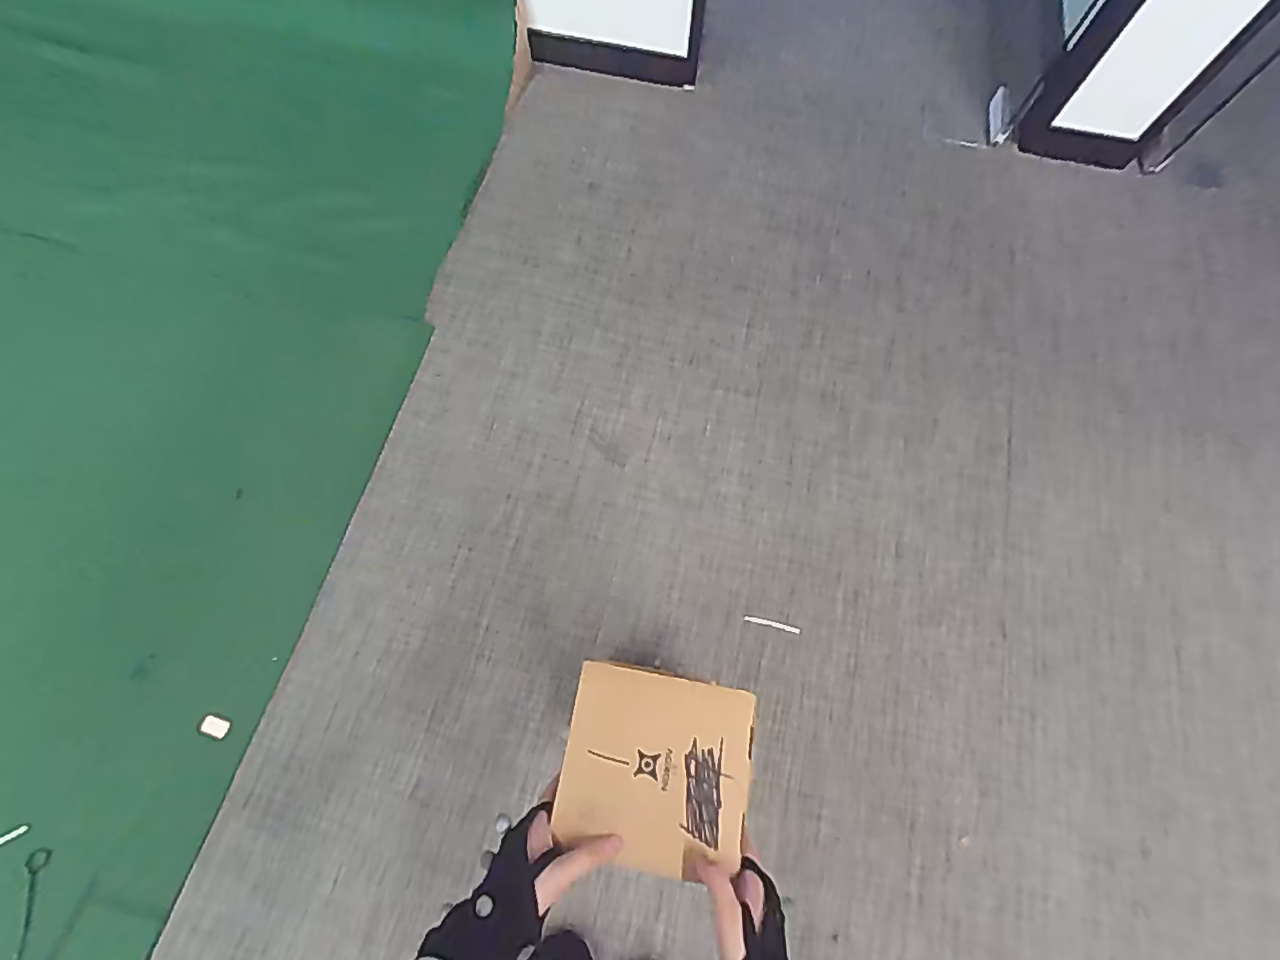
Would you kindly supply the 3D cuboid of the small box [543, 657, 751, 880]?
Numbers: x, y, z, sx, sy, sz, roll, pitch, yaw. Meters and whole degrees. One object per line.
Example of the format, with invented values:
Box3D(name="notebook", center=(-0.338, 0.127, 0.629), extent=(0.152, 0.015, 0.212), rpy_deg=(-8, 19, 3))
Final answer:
Box3D(name="small box", center=(0.010, 0.296, 0.587), extent=(0.179, 0.176, 0.168), rpy_deg=(10, 68, 3))
